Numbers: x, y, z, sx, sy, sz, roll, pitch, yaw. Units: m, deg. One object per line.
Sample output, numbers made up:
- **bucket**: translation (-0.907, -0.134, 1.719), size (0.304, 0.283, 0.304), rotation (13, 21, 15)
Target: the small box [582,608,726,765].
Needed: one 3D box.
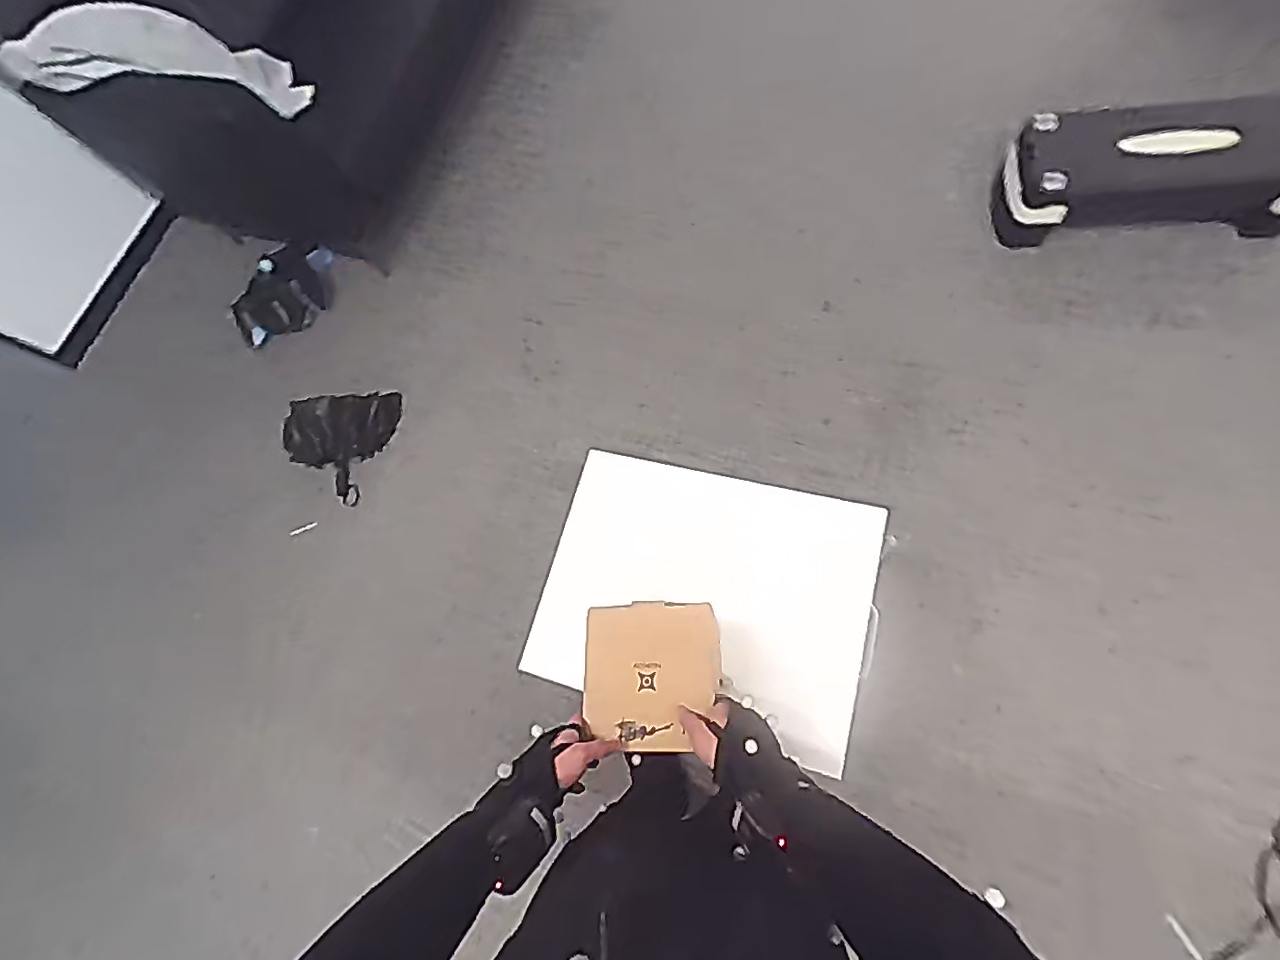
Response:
- **small box**: translation (0.025, 0.287, 0.739), size (0.168, 0.176, 0.179), rotation (-7, 61, 9)
